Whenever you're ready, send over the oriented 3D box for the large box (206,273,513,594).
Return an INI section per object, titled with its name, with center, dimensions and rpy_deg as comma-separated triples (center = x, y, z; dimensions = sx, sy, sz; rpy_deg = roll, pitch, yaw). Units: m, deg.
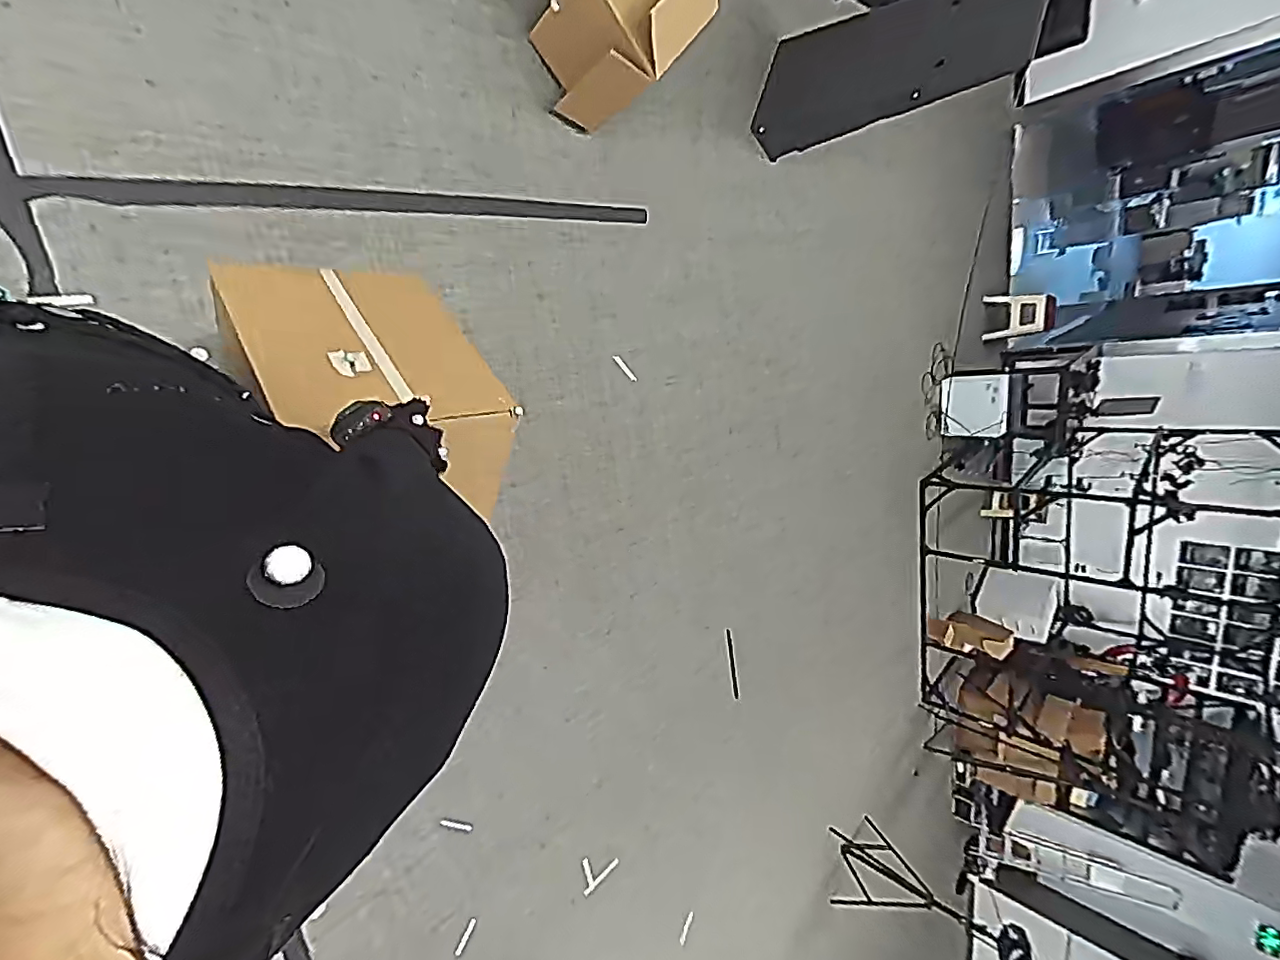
[large box]
center = -0.471, -0.093, 0.900
dimensions = 0.320, 0.408, 0.320
rpy_deg = -15, 144, -40
